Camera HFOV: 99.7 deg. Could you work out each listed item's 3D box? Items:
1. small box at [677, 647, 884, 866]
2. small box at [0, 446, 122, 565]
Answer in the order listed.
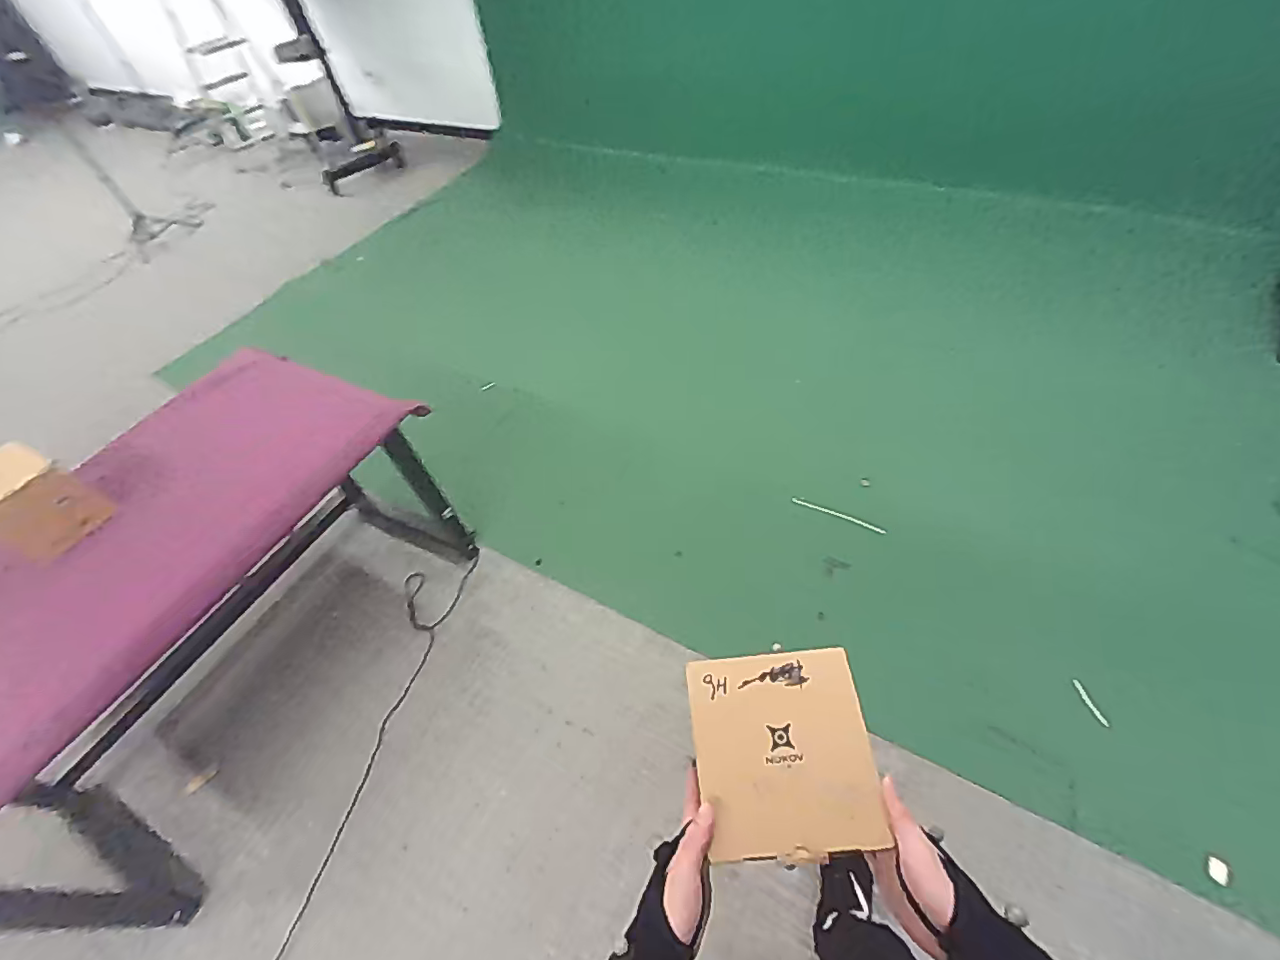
[{"bbox_3d":[0.135,0.293,0.583,0.168,0.176,0.179,-7,60,2],"label":"small box"},{"bbox_3d":[-1.298,0.060,1.170,0.179,0.176,0.168,19,56,22],"label":"small box"}]
